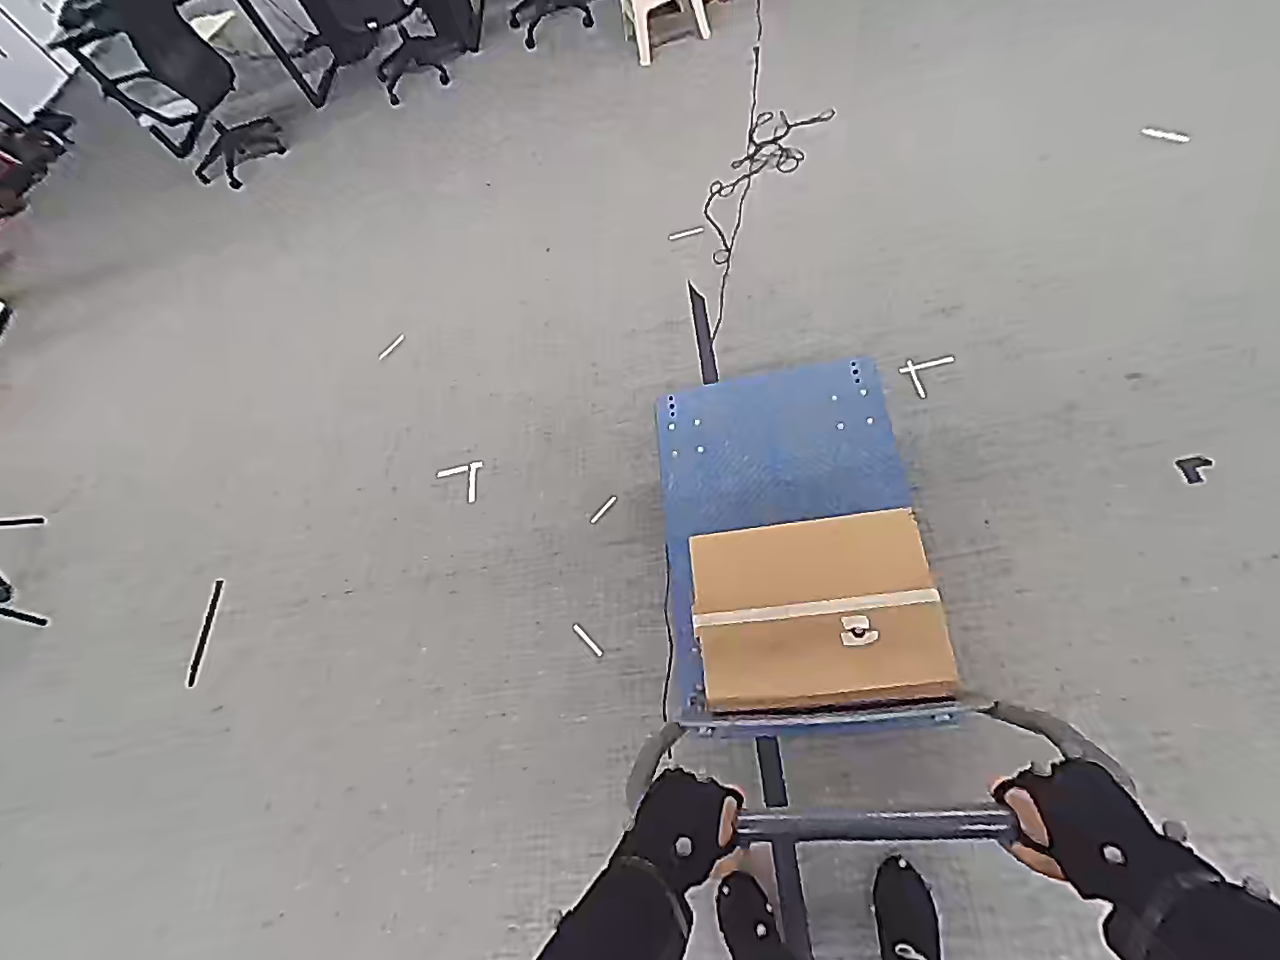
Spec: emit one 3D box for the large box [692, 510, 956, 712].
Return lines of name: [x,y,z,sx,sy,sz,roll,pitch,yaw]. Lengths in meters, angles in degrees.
large box: [0.338,0.277,1.090,0.408,0.320,0.320,-9,70,11]
